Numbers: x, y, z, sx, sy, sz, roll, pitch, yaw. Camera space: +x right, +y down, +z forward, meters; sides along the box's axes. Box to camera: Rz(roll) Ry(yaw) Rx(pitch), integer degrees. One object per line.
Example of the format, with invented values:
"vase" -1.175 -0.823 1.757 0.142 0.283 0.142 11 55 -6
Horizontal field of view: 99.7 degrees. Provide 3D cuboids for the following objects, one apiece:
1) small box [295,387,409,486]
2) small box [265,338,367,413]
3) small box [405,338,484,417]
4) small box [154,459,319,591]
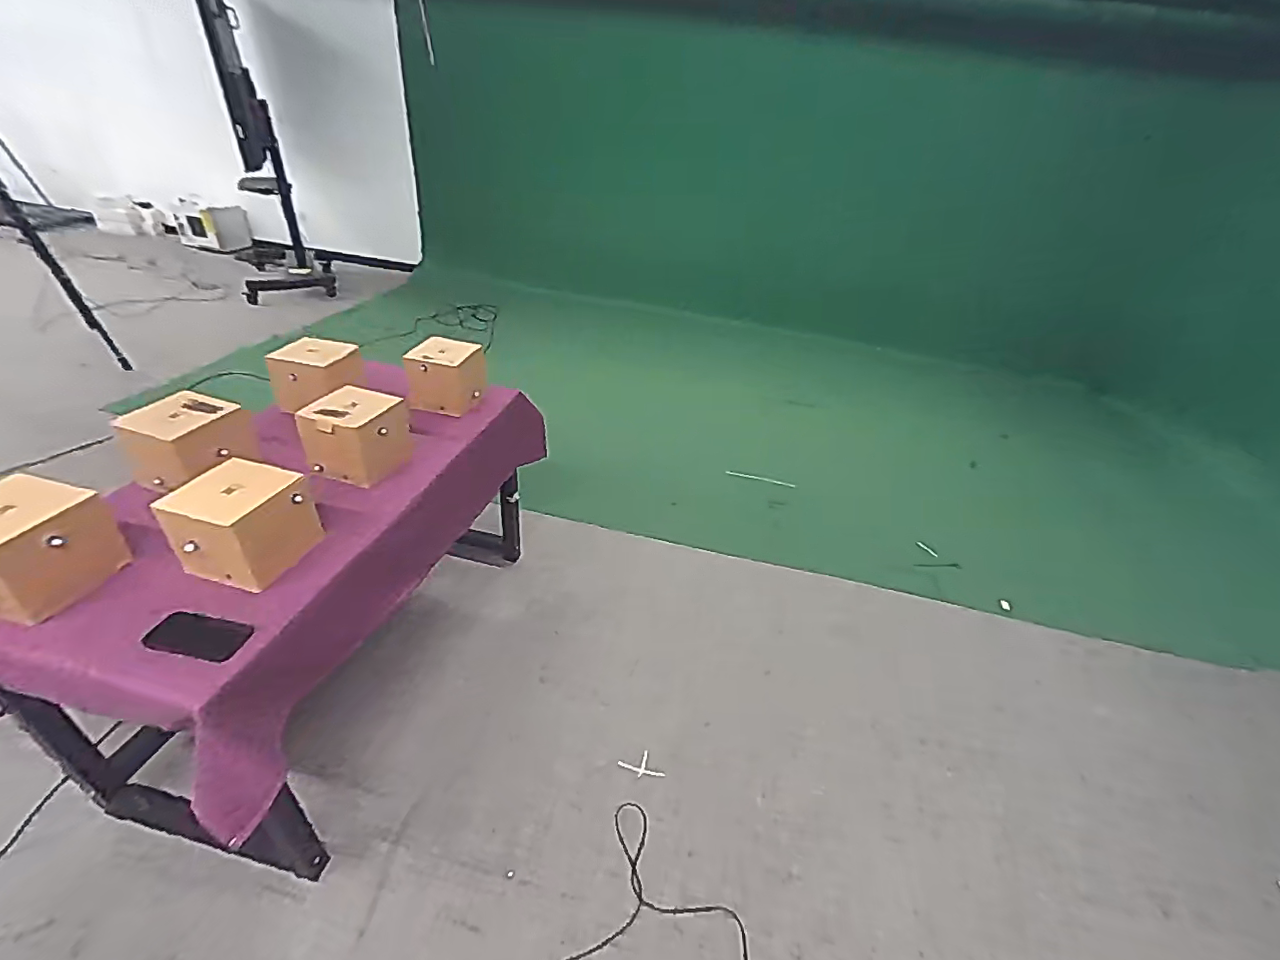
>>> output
"small box" -0.694 -0.107 1.331 0.168 0.176 0.179 14 34 10
"small box" -0.919 -0.290 1.553 0.179 0.176 0.168 11 35 5
"small box" -0.587 -0.313 1.644 0.168 0.176 0.179 11 35 7
"small box" -0.759 0.087 1.043 0.168 0.176 0.179 13 34 9
